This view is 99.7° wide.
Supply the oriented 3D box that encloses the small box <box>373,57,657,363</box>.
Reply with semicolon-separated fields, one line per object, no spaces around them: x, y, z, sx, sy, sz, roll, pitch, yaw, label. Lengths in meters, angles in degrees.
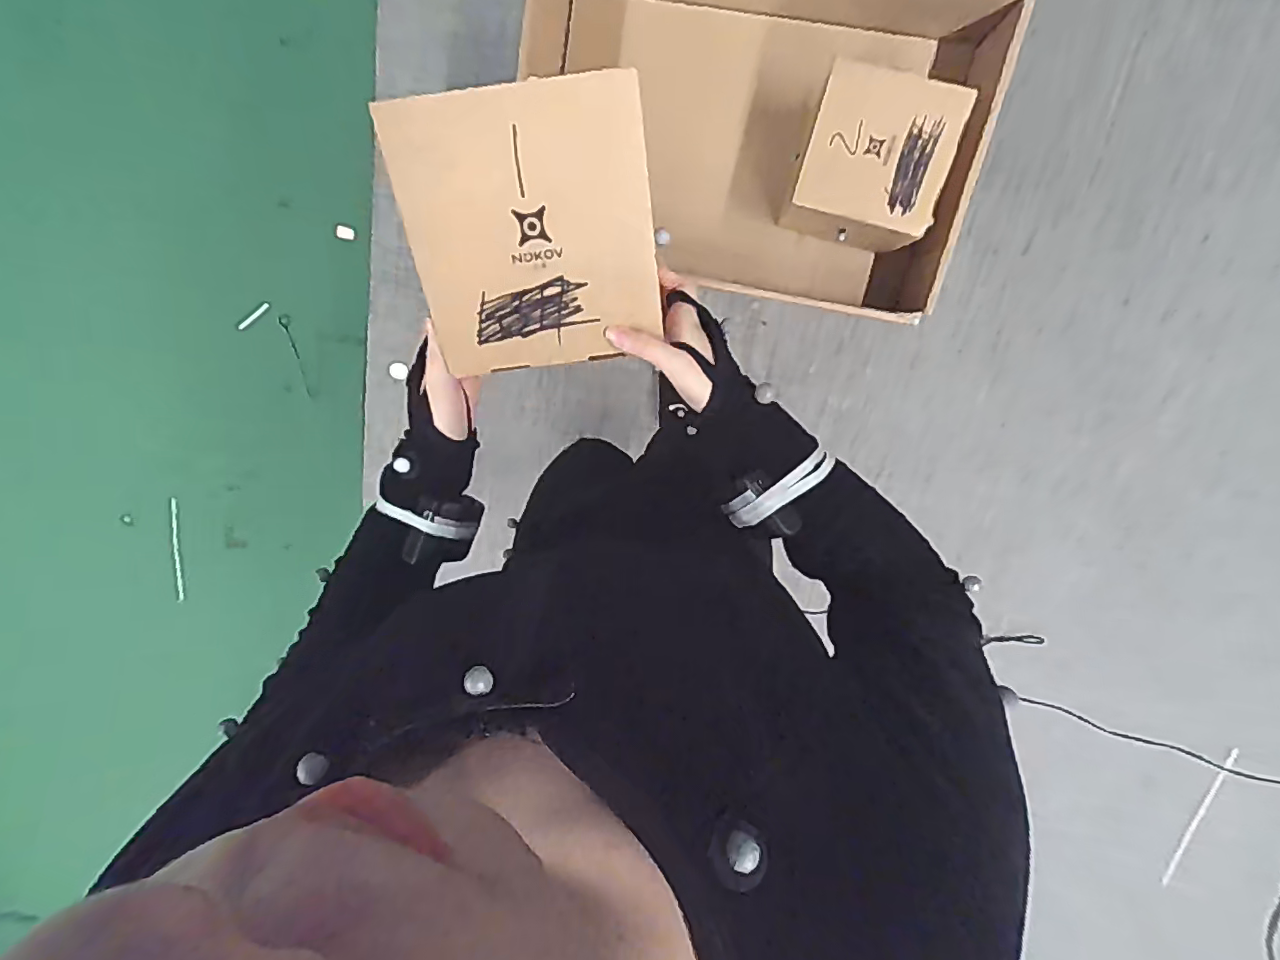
-0.076;-0.210;0.436;0.168;0.176;0.179;-6;118;1;small box
